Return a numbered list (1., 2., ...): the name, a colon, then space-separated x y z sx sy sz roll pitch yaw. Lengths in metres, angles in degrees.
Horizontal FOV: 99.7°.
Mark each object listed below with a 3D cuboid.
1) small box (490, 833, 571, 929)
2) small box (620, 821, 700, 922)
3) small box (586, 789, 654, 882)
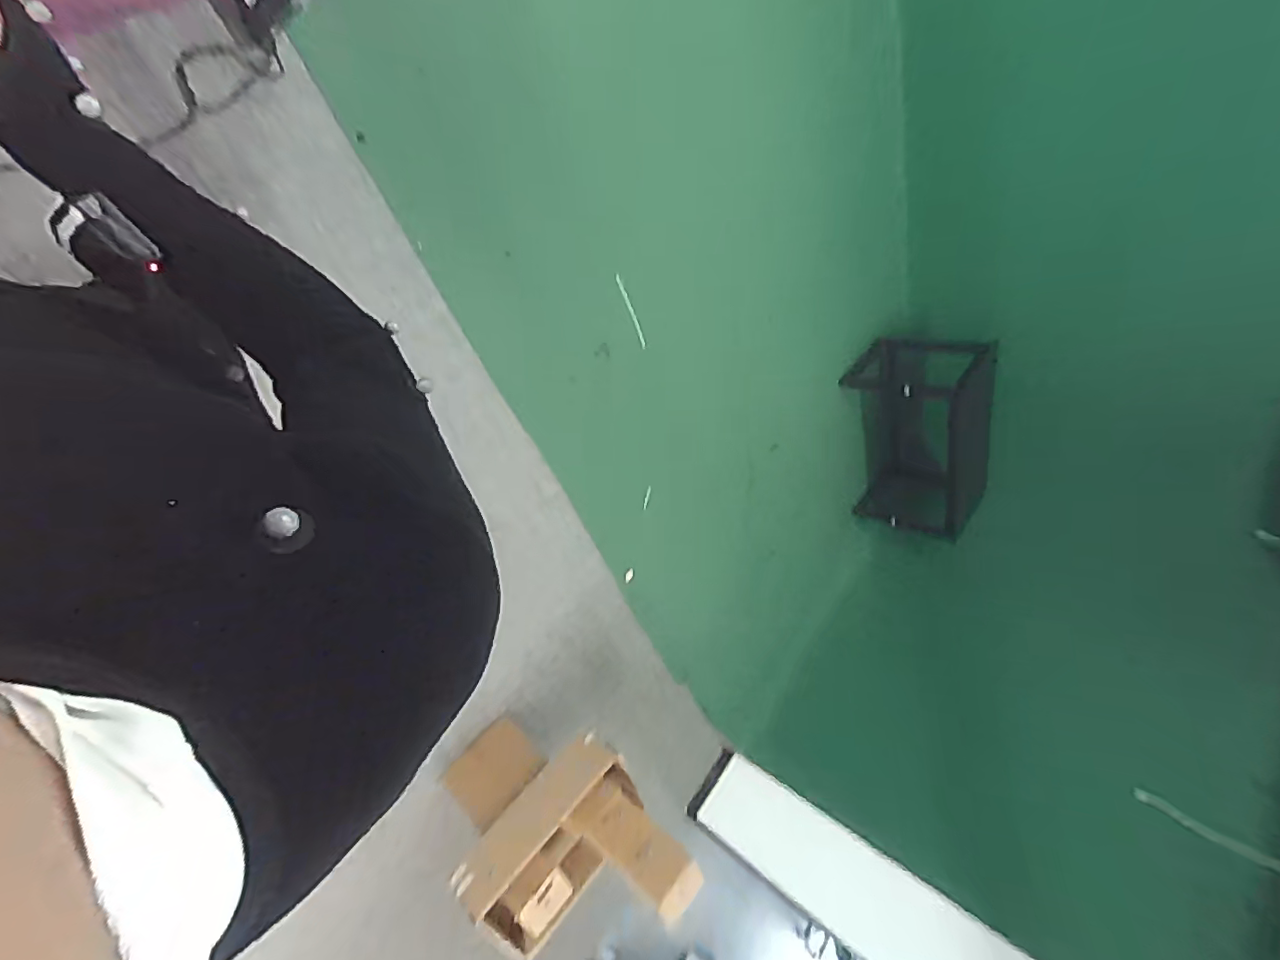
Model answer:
1. small box: -0.363 1.309 1.779 0.168 0.176 0.179 -39 129 -31
2. small box: 0.063 1.228 1.709 0.168 0.176 0.179 -38 128 -32
3. small box: -0.054 1.186 1.818 0.168 0.176 0.179 -38 128 -30
